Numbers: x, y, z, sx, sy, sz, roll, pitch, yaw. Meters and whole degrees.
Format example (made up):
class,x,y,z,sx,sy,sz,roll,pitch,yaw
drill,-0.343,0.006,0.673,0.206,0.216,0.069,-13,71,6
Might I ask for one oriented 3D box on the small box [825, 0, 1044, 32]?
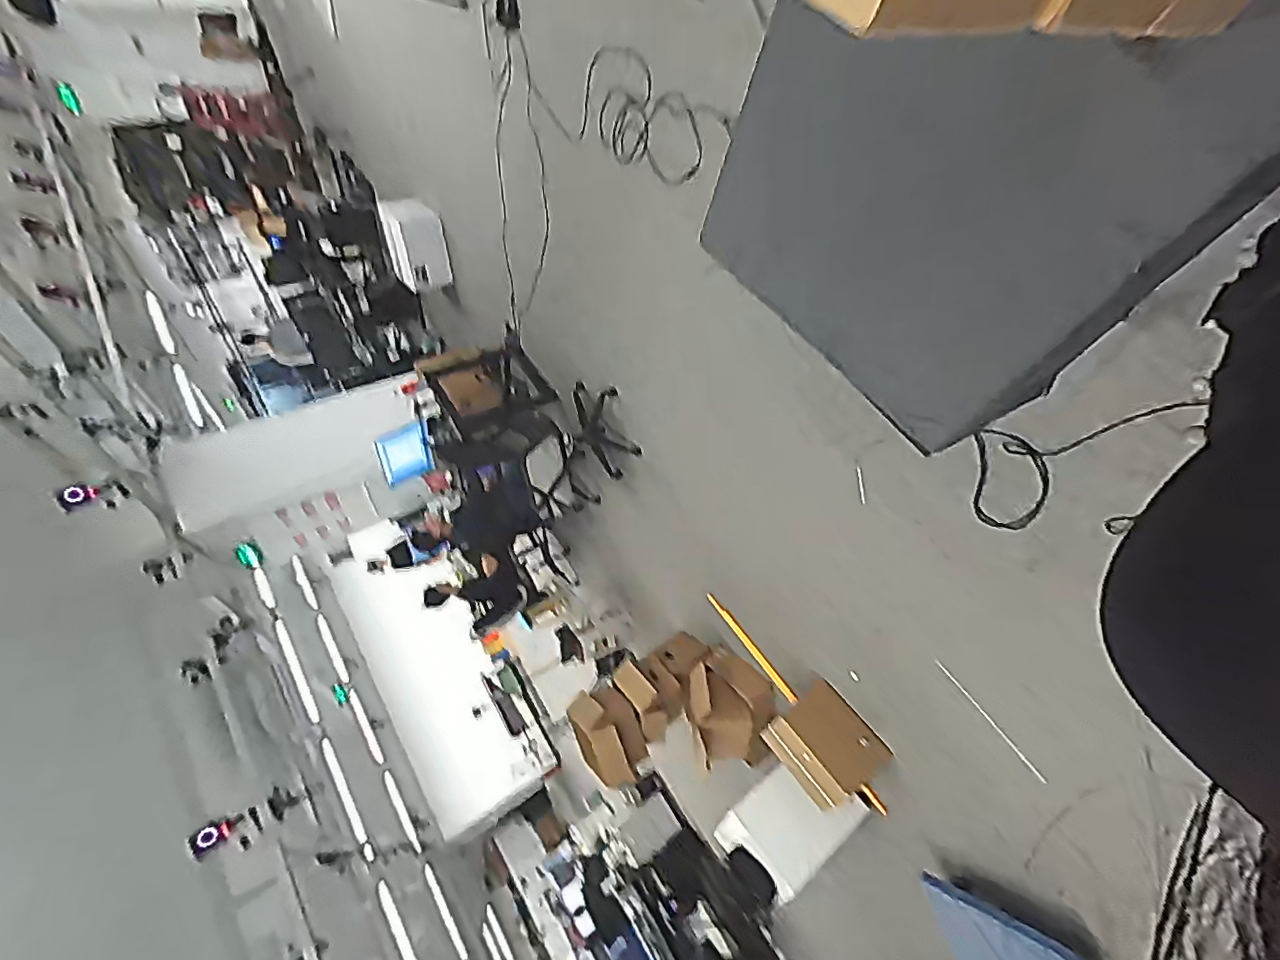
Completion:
class,x,y,z,sx,sy,sz,roll,pitch,yaw
small box,0.150,-0.354,0.256,0.168,0.176,0.179,54,150,20

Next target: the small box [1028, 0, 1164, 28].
class,x,y,z,sx,sy,sz,roll,pitch,yaw
small box,0.285,-0.414,0.327,0.168,0.176,0.179,52,151,22
